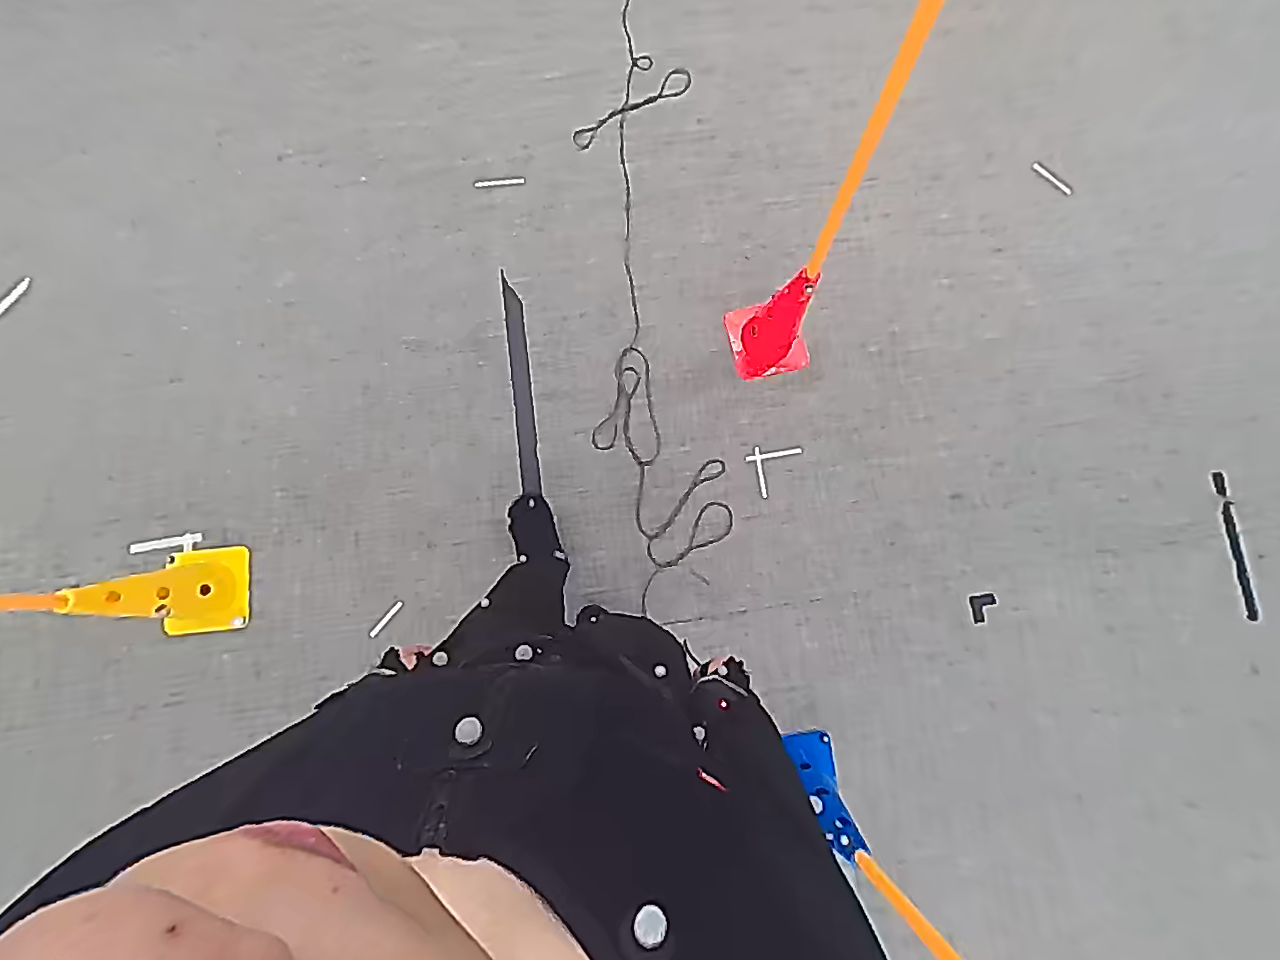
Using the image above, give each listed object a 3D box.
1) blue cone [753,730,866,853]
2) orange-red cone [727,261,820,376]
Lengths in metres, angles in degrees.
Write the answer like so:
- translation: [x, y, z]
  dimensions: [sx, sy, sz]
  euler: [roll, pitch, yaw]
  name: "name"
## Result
- translation: [0.383, 0.689, 1.148]
  dimensions: [0.193, 0.380, 0.192]
  euler: [-5, 81, -3]
  name: "blue cone"
- translation: [0.351, -0.412, 1.296]
  dimensions: [0.199, 0.360, 0.198]
  euler: [-13, 82, -3]
  name: "orange-red cone"
